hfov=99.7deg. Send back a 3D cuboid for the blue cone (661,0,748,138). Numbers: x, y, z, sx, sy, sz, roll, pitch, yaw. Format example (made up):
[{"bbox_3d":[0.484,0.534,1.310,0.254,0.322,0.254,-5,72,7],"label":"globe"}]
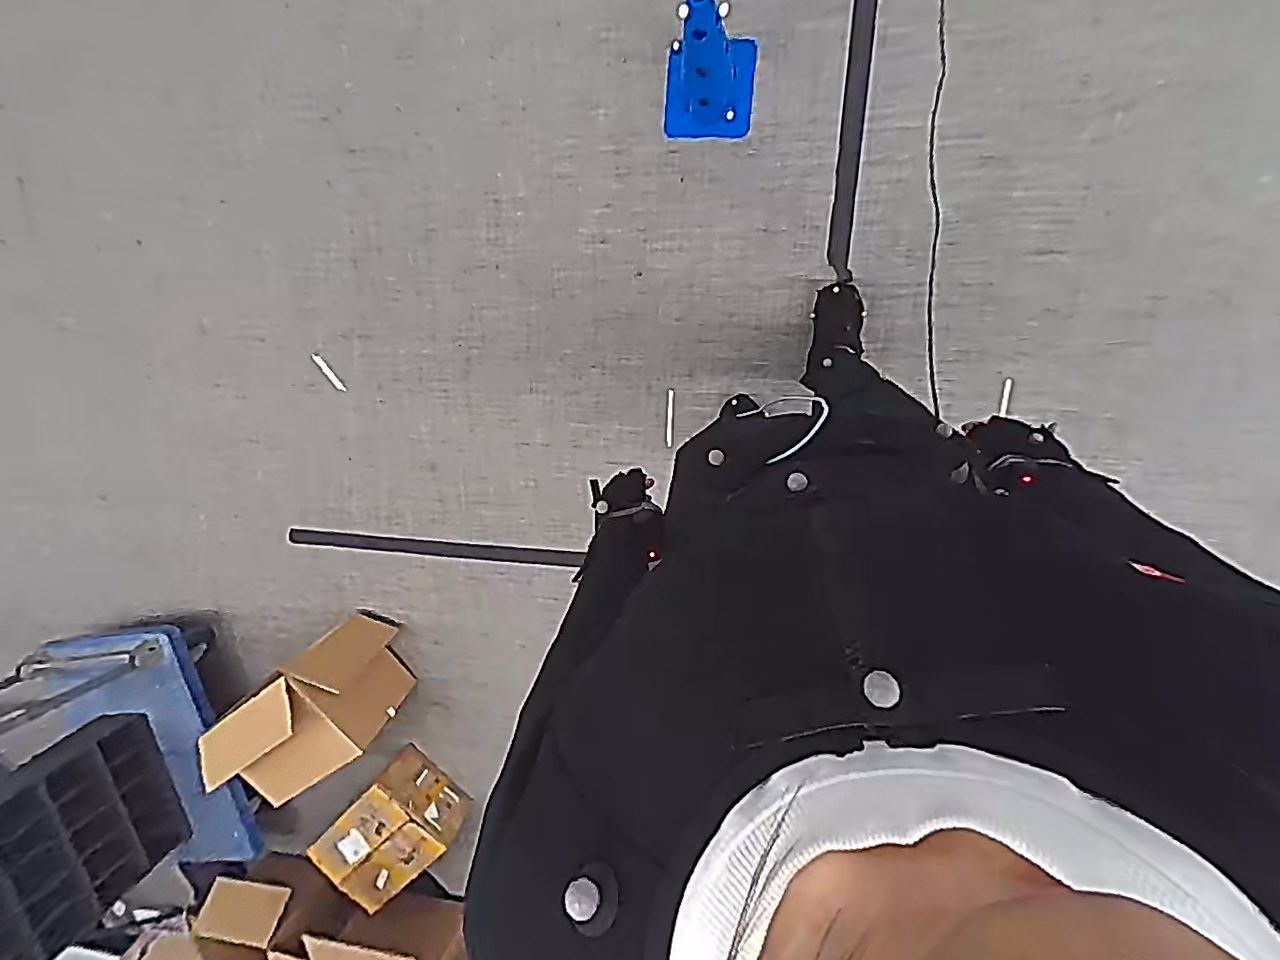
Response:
[{"bbox_3d":[0.115,-0.858,1.088,0.192,0.380,0.193,8,104,10],"label":"blue cone"}]
